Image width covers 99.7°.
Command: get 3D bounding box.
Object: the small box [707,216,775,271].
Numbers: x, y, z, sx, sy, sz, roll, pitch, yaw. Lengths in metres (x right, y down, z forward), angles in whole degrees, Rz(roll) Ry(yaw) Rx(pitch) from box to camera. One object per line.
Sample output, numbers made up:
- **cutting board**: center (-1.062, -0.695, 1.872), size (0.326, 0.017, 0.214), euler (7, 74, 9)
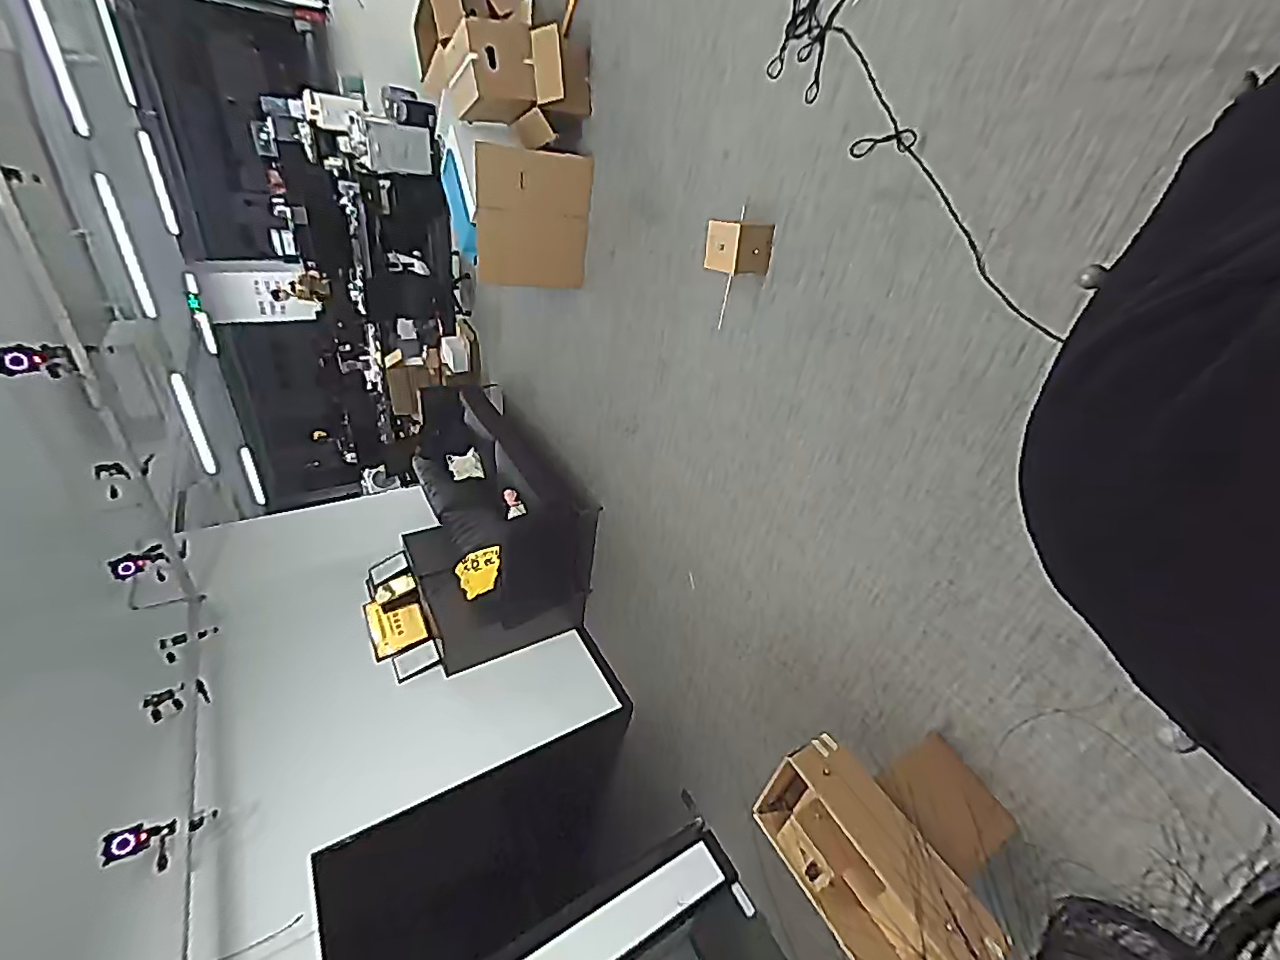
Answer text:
- **small box**: center (0.373, -0.874, 1.991), size (0.179, 0.176, 0.168), euler (40, 135, 47)
